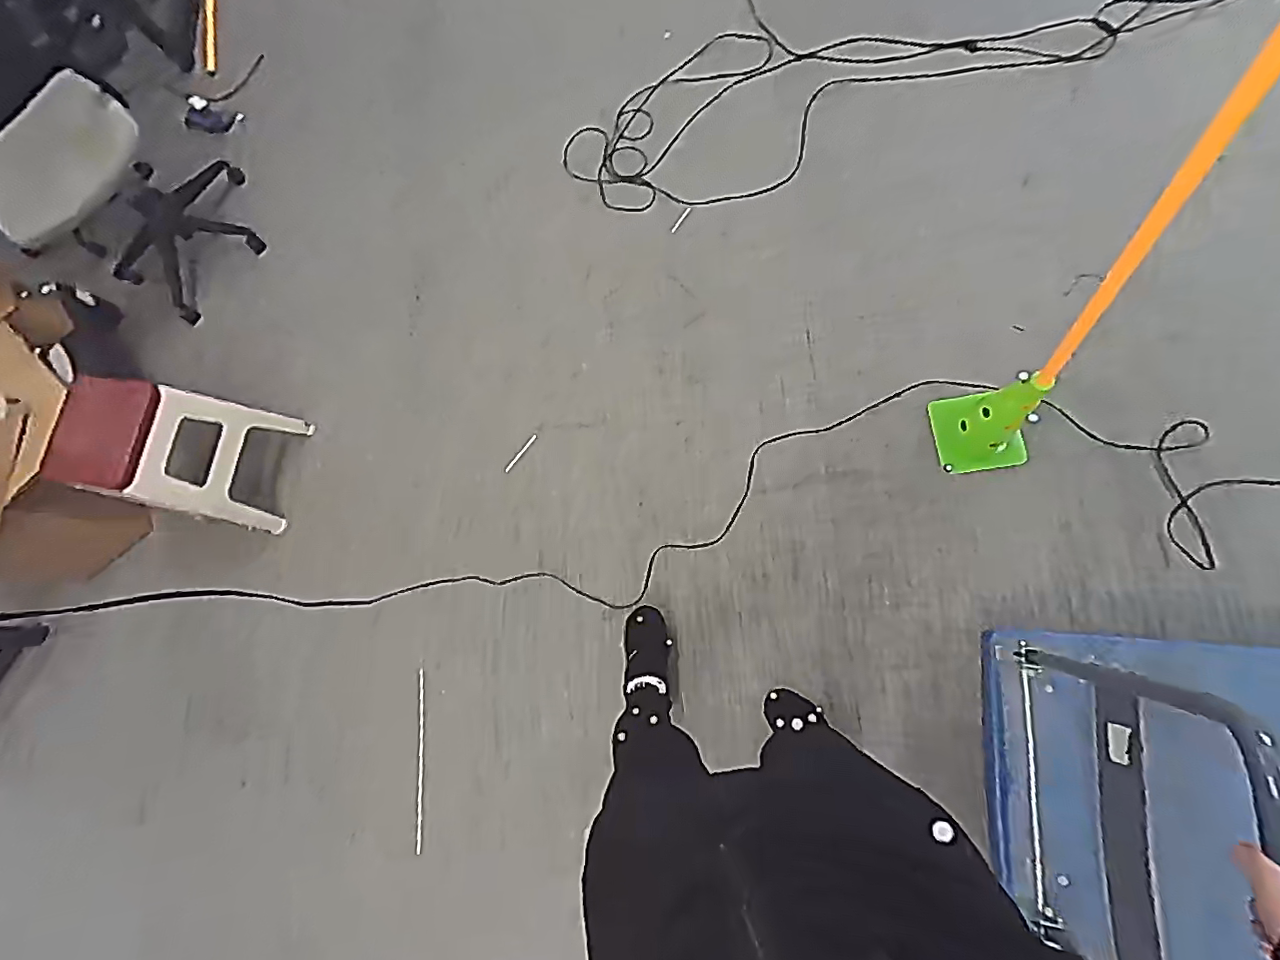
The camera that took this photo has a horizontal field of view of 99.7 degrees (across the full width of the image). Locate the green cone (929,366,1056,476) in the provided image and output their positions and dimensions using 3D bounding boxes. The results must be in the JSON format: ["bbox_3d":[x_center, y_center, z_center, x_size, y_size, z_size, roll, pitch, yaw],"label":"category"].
[{"bbox_3d":[0.824,-0.156,1.209,0.200,0.368,0.202,-10,75,10],"label":"green cone"}]
